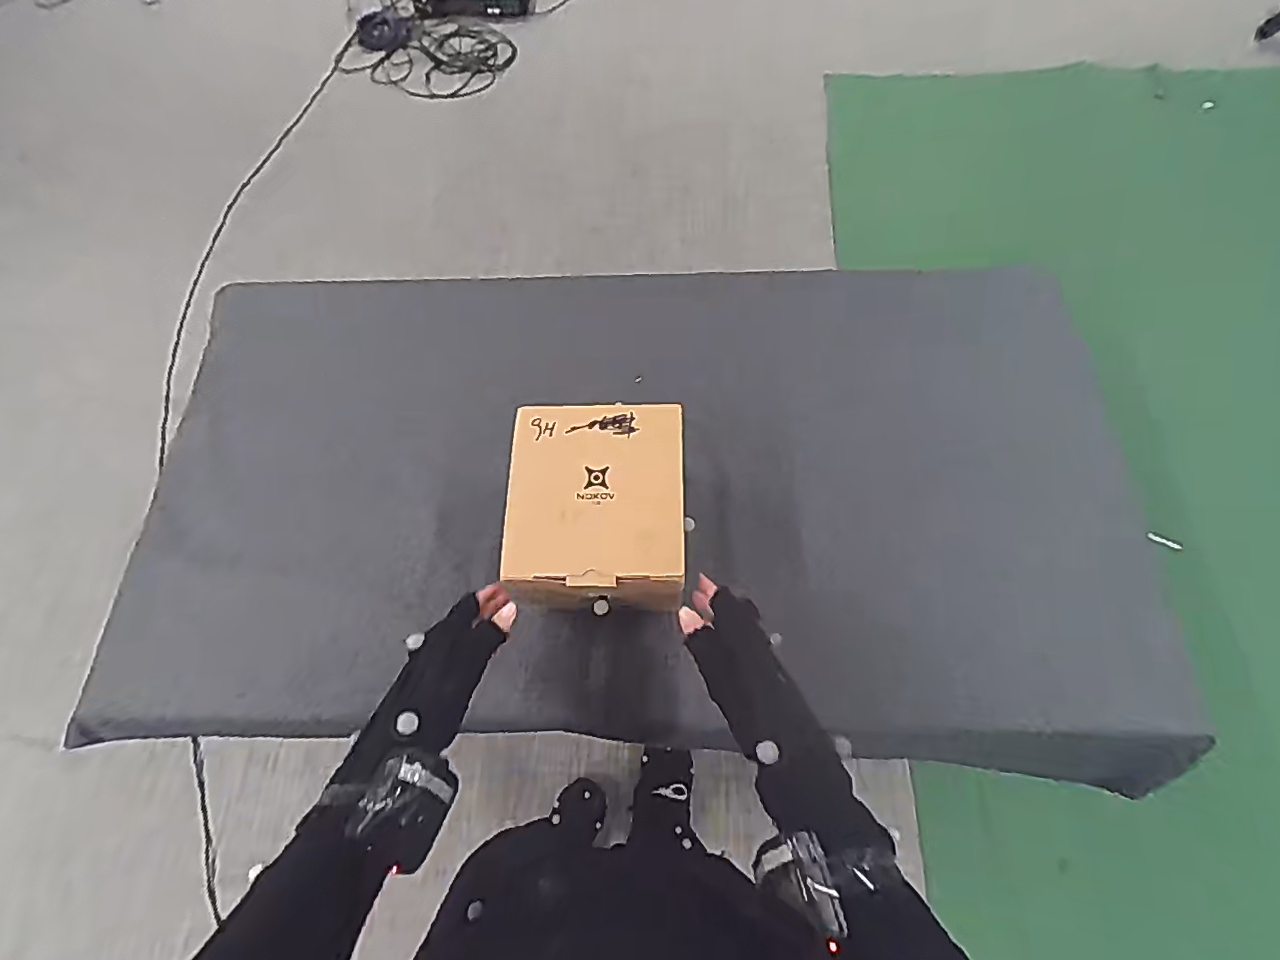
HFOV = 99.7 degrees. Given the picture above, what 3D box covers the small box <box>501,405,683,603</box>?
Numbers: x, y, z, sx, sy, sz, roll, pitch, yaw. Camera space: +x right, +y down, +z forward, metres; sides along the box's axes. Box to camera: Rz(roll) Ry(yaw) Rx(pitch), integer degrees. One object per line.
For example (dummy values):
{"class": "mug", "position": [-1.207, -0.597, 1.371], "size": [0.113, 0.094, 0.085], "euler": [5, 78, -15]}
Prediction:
{"class": "small box", "position": [-0.038, 0.037, 0.581], "size": [0.168, 0.176, 0.179], "euler": [-2, 69, 3]}
